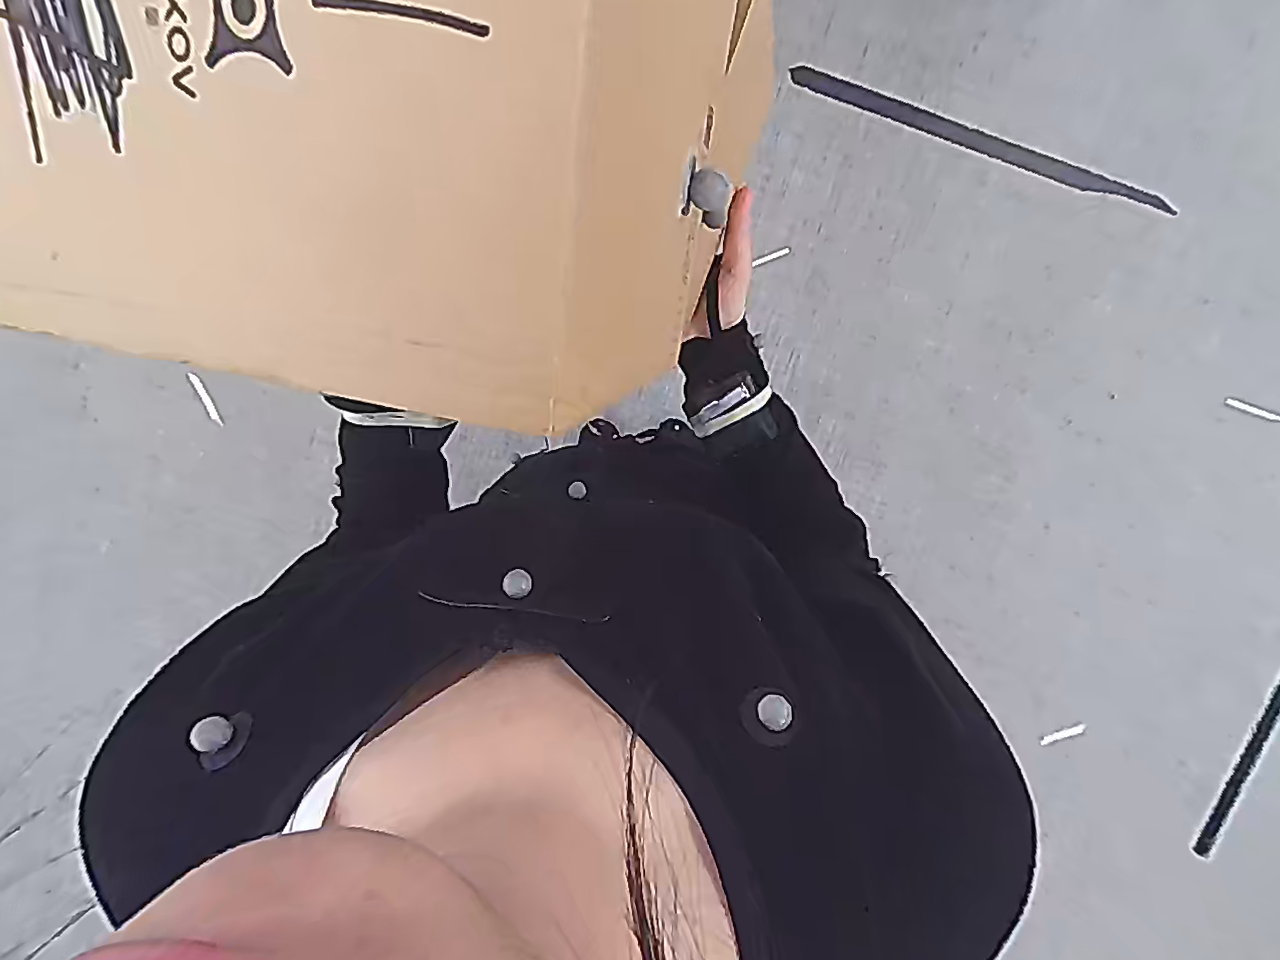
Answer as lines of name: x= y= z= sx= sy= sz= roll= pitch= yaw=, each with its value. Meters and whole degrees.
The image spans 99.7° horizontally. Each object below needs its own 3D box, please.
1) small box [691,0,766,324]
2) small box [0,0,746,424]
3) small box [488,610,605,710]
small box: x=-0.026 y=-0.197 z=0.339 sx=0.168 sy=0.176 sz=0.179 roll=22 pitch=110 yaw=6
small box: x=-0.067 y=-0.129 z=0.193 sx=0.179 sy=0.176 sz=0.168 roll=12 pitch=110 yaw=10
small box: x=-0.157 y=0.323 z=0.820 sx=0.168 sy=0.176 sz=0.179 roll=21 pitch=97 yaw=-2
